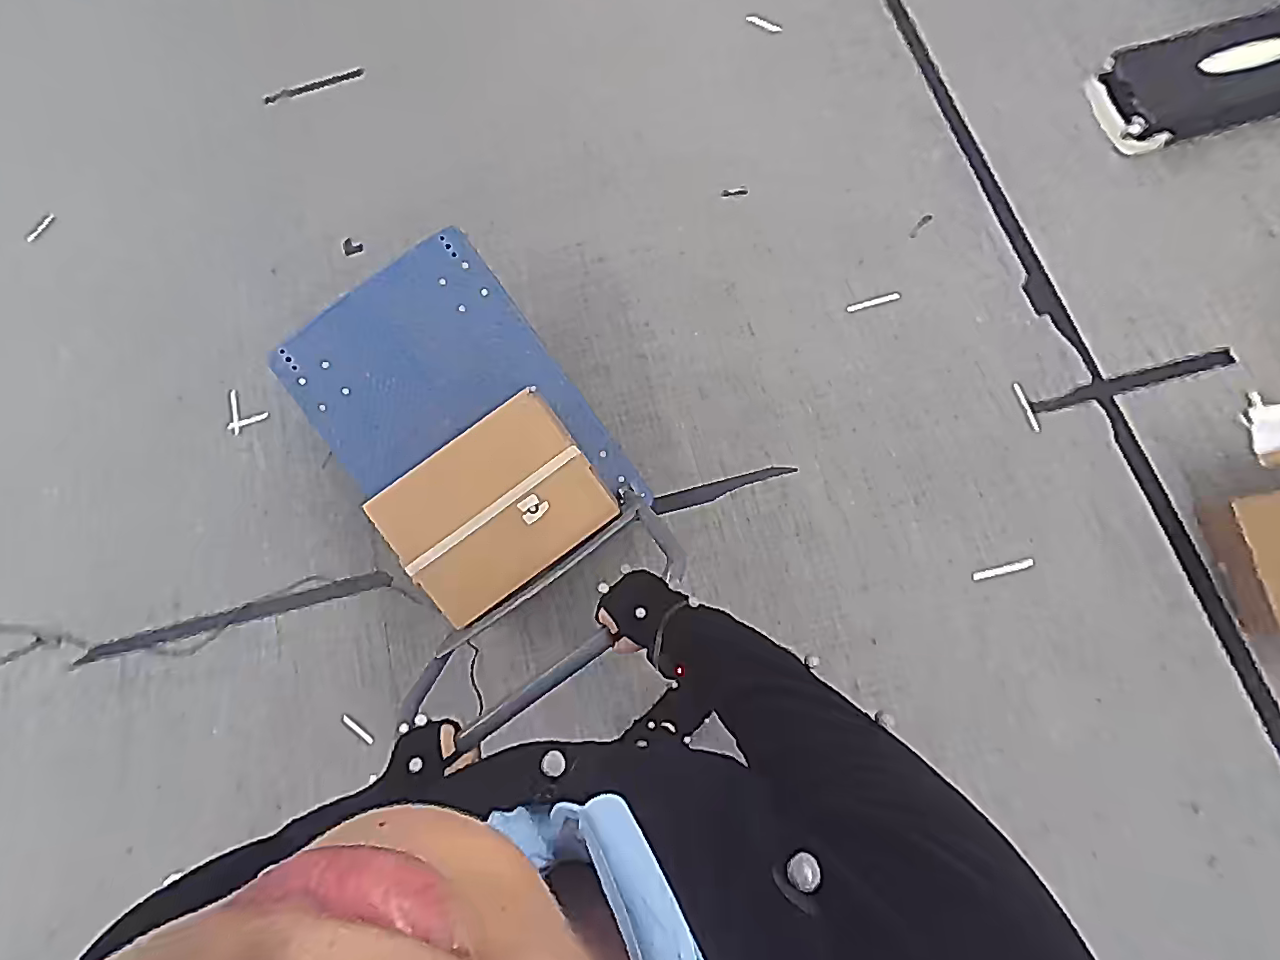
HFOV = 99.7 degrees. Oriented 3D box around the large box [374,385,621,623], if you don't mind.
[{"bbox_3d":[-0.294,0.048,1.233,0.408,0.320,0.320,-37,94,-3],"label":"large box"}]
